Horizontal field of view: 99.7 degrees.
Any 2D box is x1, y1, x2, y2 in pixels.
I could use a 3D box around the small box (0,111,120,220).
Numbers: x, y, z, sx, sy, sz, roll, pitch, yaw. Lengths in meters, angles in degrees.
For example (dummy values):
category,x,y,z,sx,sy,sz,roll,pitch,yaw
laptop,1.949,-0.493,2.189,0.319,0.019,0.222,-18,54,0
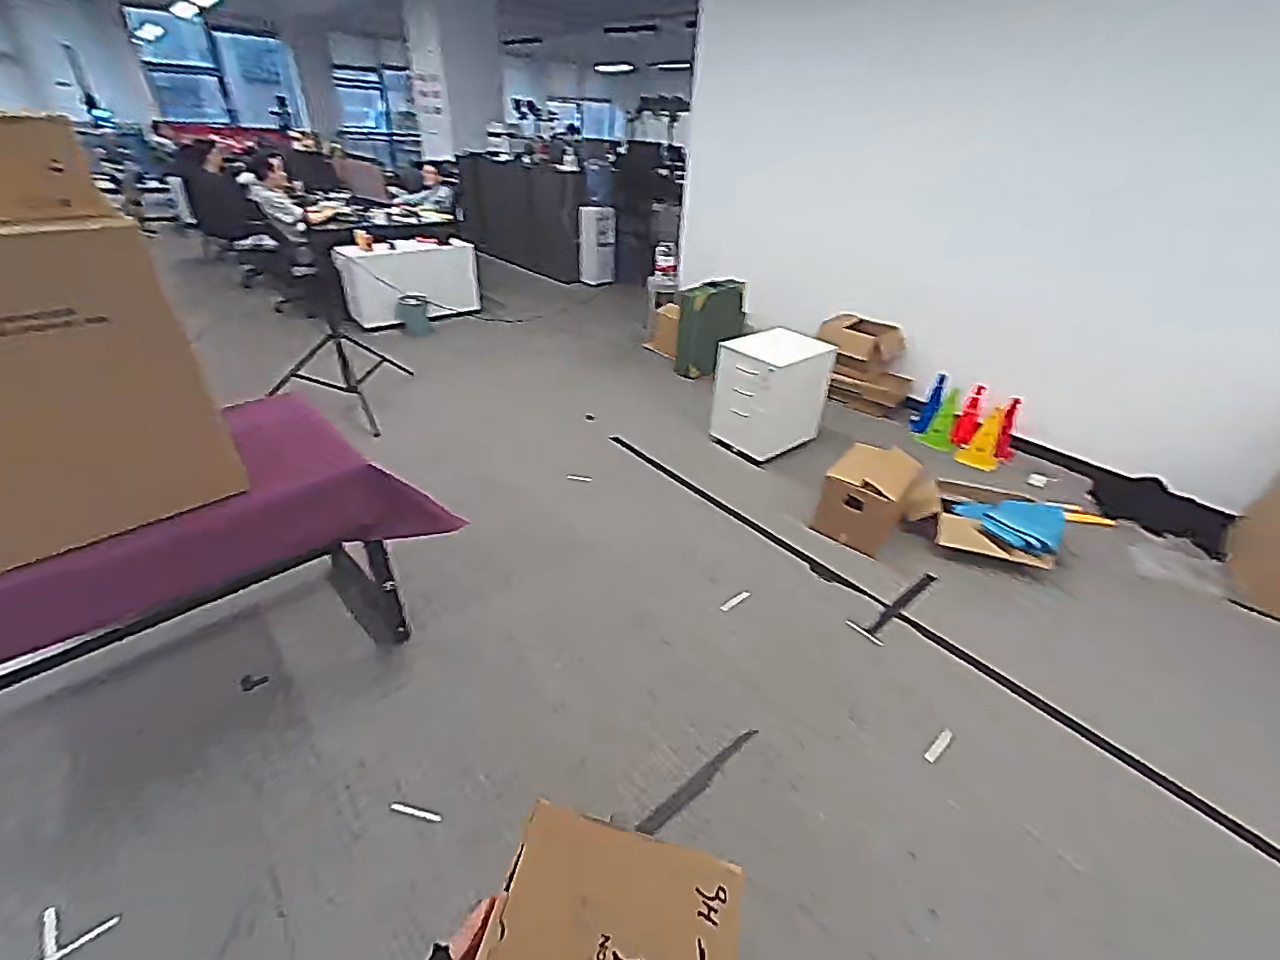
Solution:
category,x,y,z,sx,sy,sz,roll,pitch,yaw
small box,-1.137,-0.594,1.023,0.179,0.176,0.168,29,40,34
